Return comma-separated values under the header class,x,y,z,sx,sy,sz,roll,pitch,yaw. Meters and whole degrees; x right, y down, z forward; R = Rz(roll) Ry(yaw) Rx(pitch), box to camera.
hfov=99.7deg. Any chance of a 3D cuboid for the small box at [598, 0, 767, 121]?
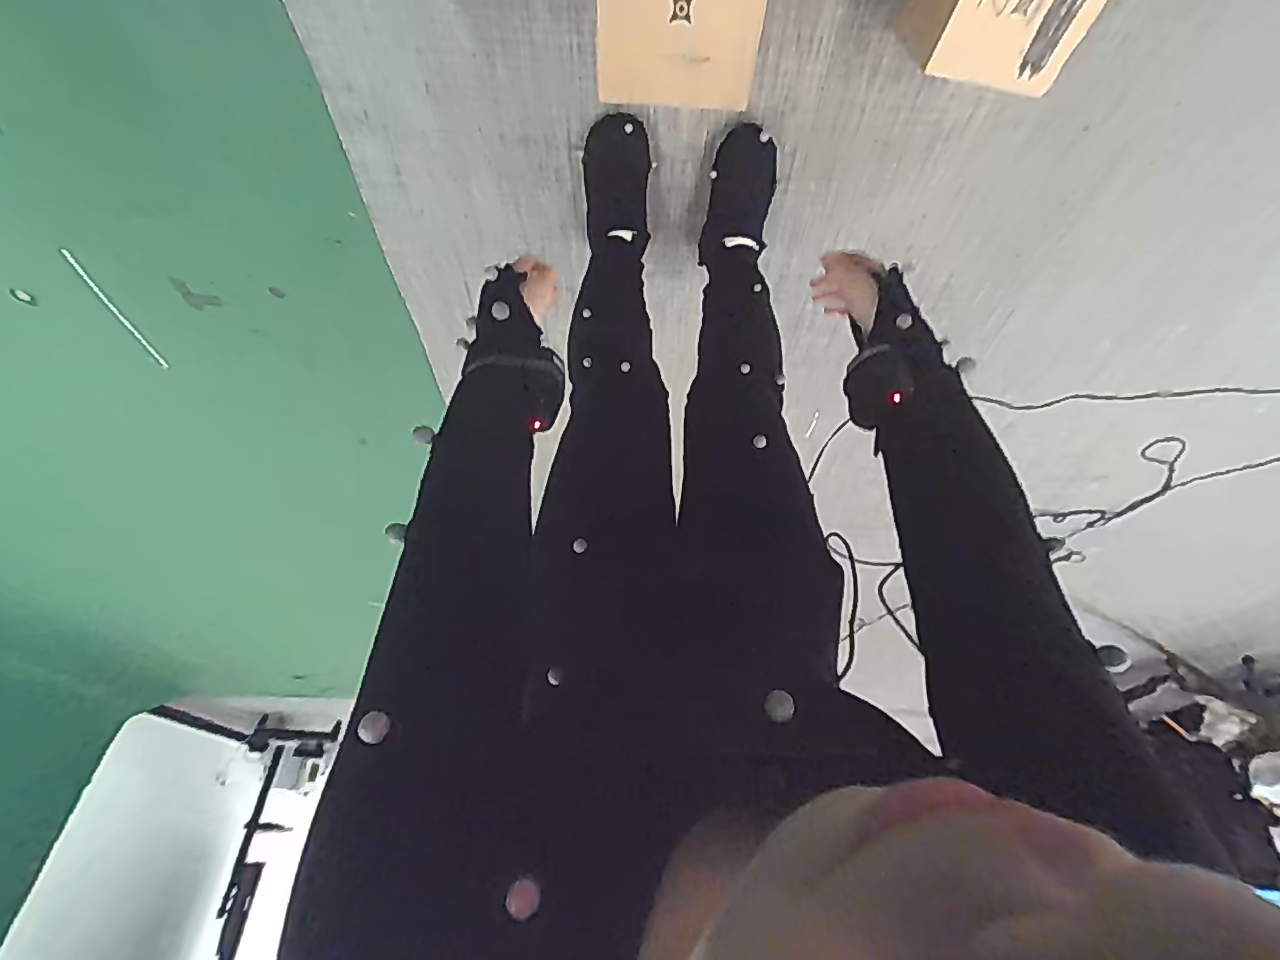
class,x,y,z,sx,sy,sz,roll,pitch,yaw
small box,0.042,-0.519,0.576,0.168,0.176,0.179,3,145,0
